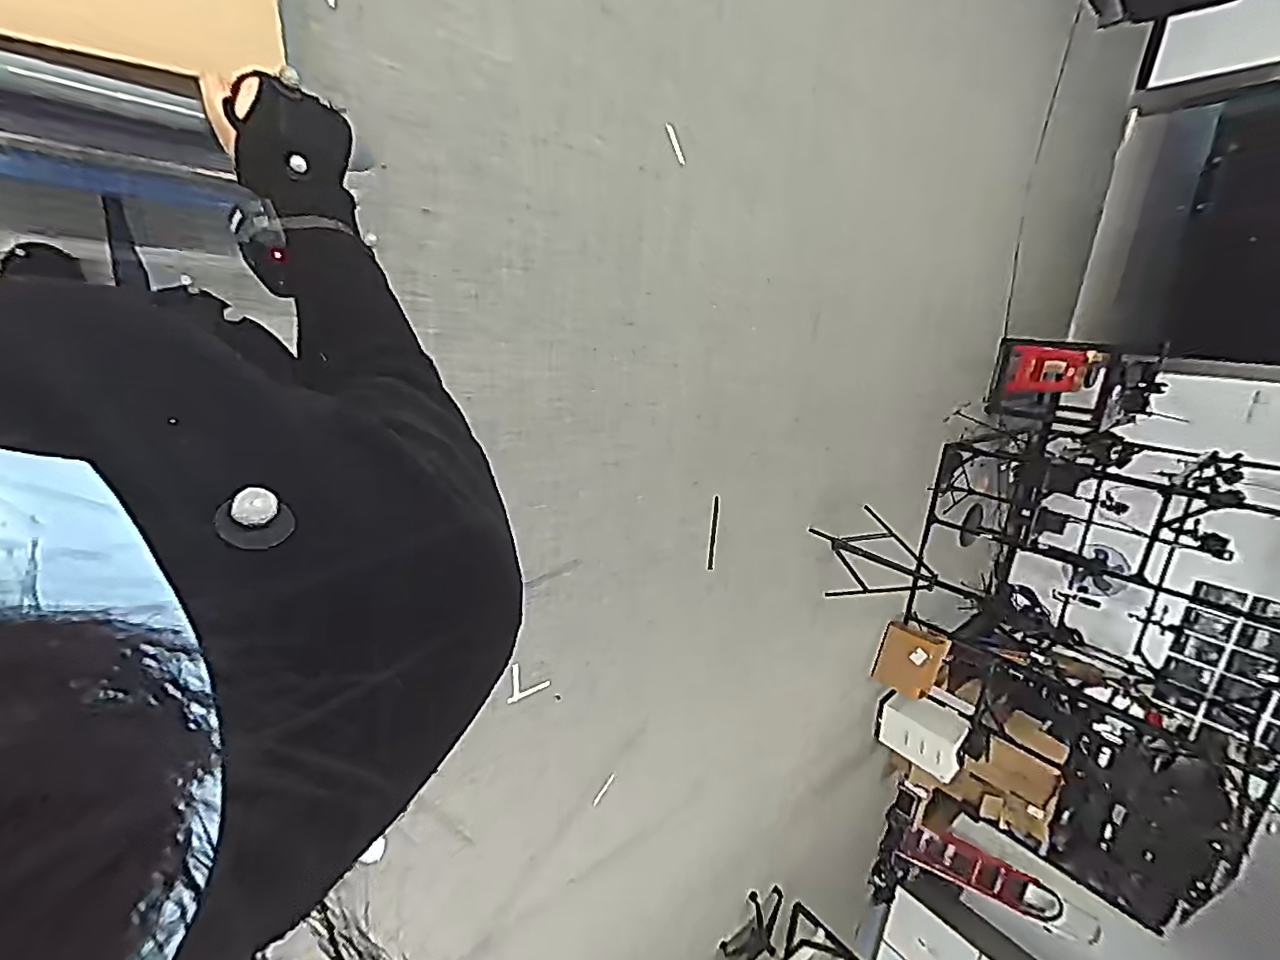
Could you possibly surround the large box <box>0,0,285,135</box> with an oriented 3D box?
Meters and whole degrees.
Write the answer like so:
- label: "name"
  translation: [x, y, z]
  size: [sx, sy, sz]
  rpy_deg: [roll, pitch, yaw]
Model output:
- label: "large box"
  translation: [-0.757, -0.695, 0.711]
  size: [0.408, 0.320, 0.320]
  rpy_deg: [-15, 115, -40]
